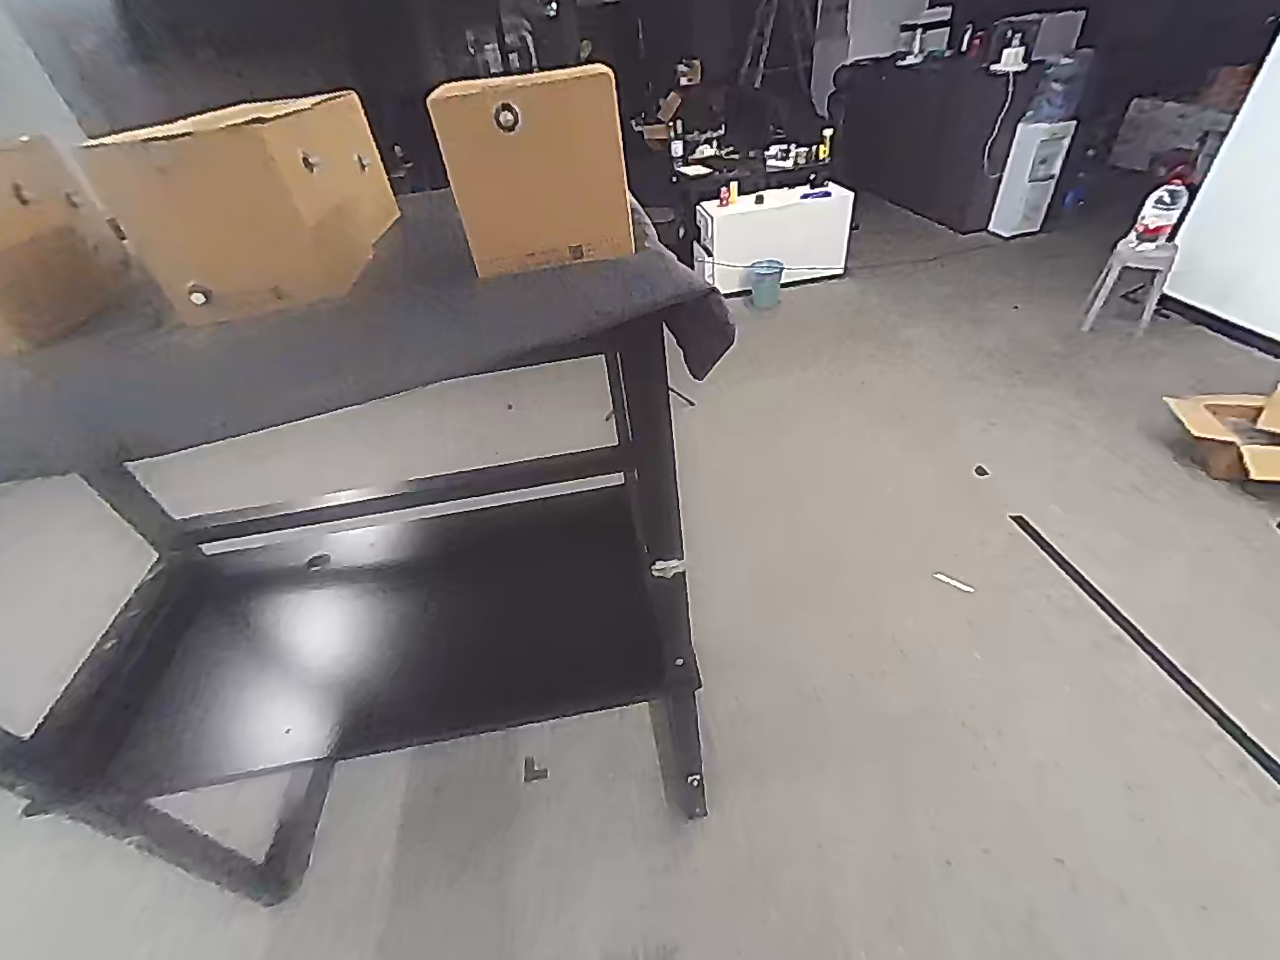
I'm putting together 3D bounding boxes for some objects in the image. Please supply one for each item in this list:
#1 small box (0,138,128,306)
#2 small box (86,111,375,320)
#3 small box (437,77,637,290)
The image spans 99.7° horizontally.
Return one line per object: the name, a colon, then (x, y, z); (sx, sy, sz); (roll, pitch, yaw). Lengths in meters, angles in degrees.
small box: (-0.874, -0.346, 0.736); (0.179, 0.176, 0.168); (-11, 40, -5)
small box: (-0.419, -0.288, 0.598); (0.168, 0.176, 0.179); (-11, 39, -4)
small box: (-0.102, -0.323, 0.589); (0.168, 0.176, 0.179); (-11, 39, -3)
